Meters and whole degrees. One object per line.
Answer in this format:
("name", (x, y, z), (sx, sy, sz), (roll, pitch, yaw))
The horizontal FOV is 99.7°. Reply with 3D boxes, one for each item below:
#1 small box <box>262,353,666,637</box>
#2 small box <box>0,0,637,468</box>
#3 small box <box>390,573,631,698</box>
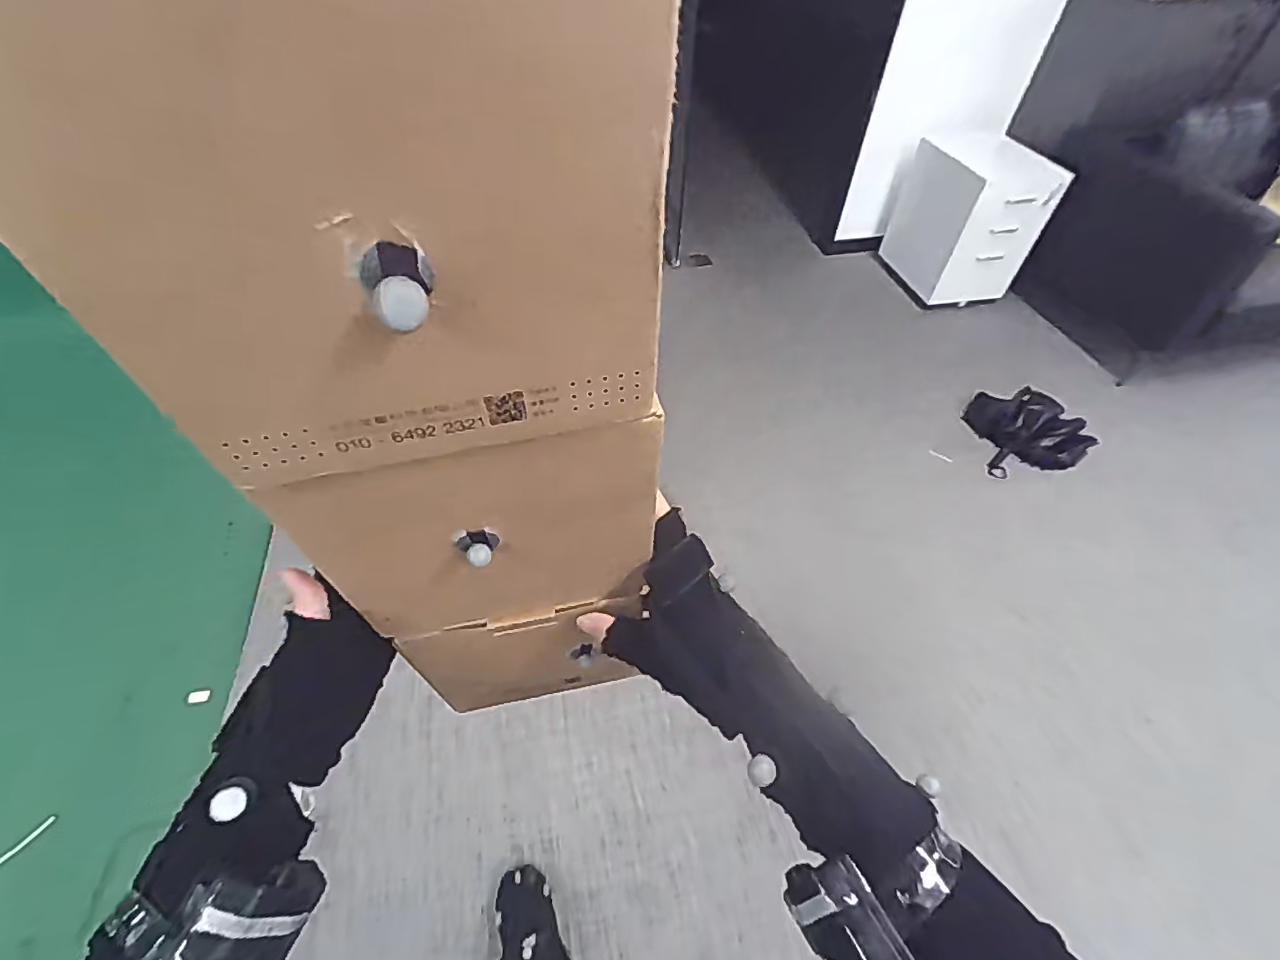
("small box", (-0.096, -0.022, 0.344), (0.179, 0.176, 0.168), (-12, 54, -11))
("small box", (-0.097, -0.121, 0.214), (0.168, 0.176, 0.179), (-11, 54, -10))
("small box", (-0.102, 0.076, 0.476), (0.168, 0.176, 0.179), (-9, 52, -8))
